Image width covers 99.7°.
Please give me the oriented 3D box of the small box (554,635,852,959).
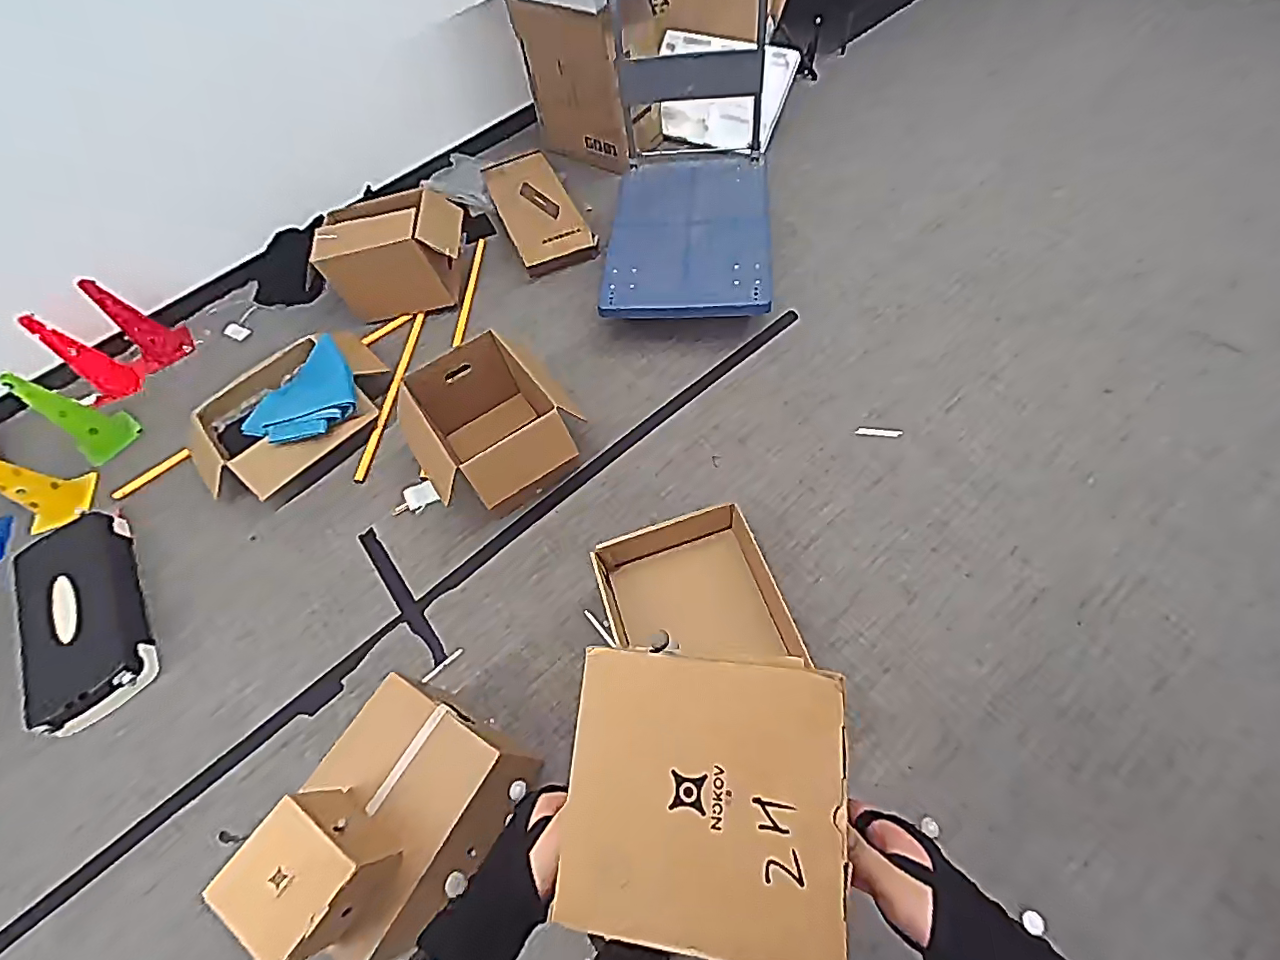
[{"bbox_3d":[0.055,0.217,0.410,0.179,0.176,0.168,3,72,12],"label":"small box"}]
